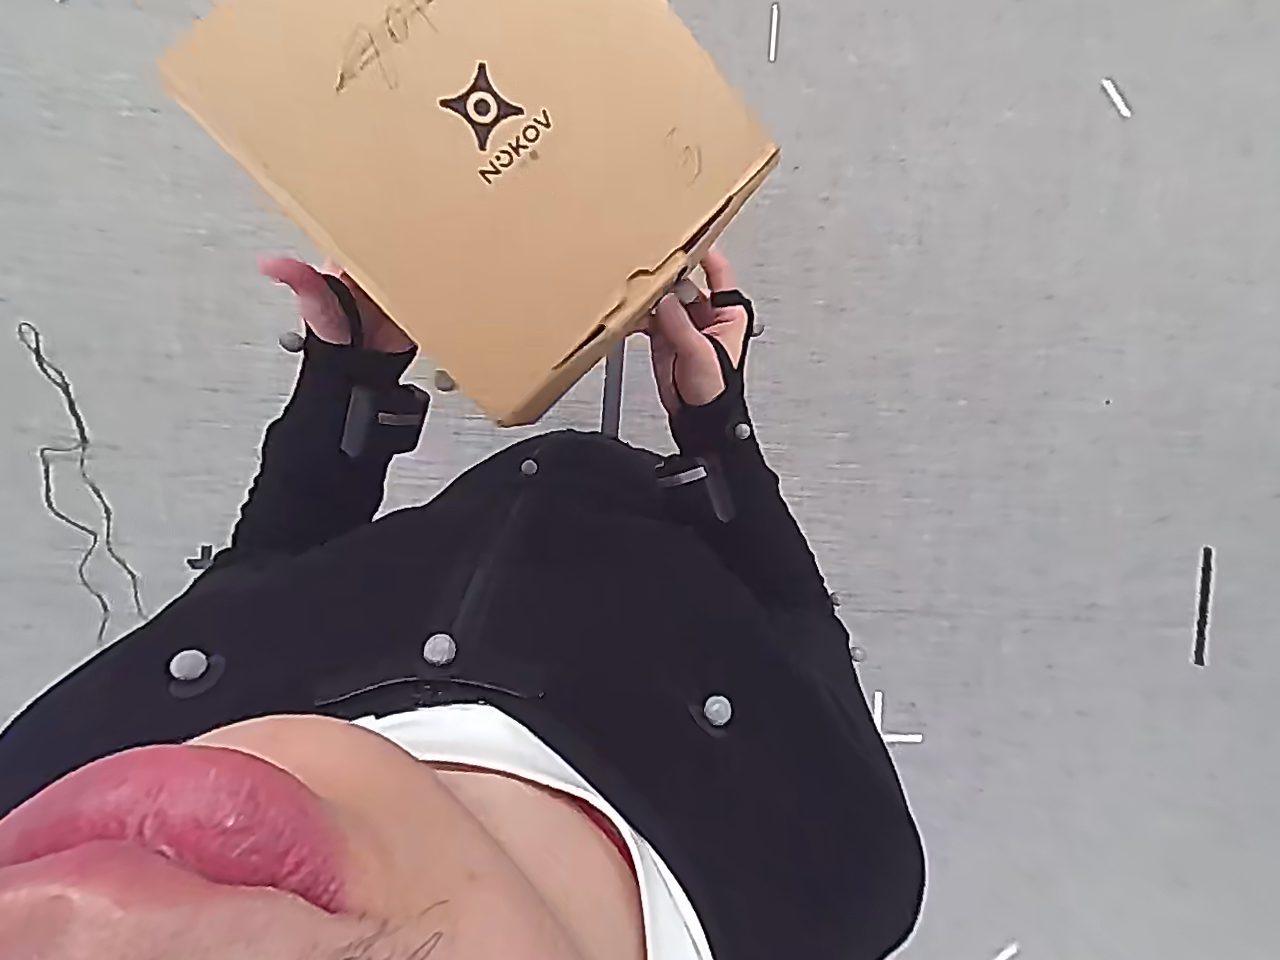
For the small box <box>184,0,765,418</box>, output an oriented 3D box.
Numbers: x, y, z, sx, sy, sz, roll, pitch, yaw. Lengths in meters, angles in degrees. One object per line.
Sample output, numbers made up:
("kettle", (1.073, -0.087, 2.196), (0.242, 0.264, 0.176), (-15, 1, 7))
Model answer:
("small box", (-0.069, -0.152, 0.300), (0.179, 0.176, 0.168), (44, 89, -9))
